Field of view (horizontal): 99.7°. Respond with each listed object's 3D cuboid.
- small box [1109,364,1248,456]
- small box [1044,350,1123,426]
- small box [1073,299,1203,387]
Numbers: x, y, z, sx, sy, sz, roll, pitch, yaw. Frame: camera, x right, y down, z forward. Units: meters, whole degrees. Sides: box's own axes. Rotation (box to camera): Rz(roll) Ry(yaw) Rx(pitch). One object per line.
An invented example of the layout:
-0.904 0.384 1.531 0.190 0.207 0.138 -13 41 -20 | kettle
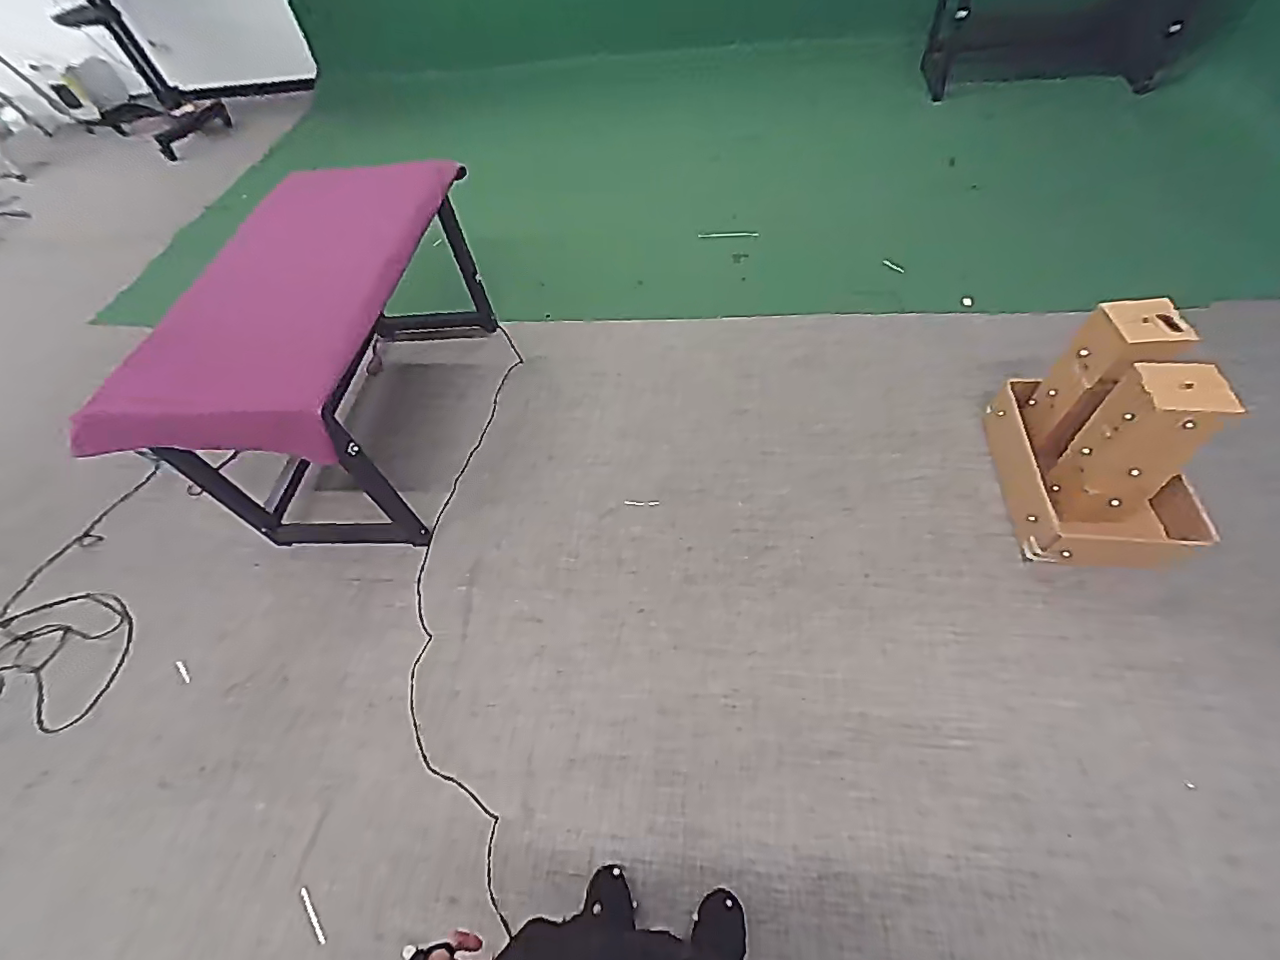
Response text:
1.340 -0.175 1.369 0.179 0.176 0.168 5 55 11 | small box
1.375 -0.277 1.629 0.179 0.176 0.168 2 56 8 | small box
1.365 -0.376 1.498 0.179 0.176 0.168 -2 56 5 | small box
